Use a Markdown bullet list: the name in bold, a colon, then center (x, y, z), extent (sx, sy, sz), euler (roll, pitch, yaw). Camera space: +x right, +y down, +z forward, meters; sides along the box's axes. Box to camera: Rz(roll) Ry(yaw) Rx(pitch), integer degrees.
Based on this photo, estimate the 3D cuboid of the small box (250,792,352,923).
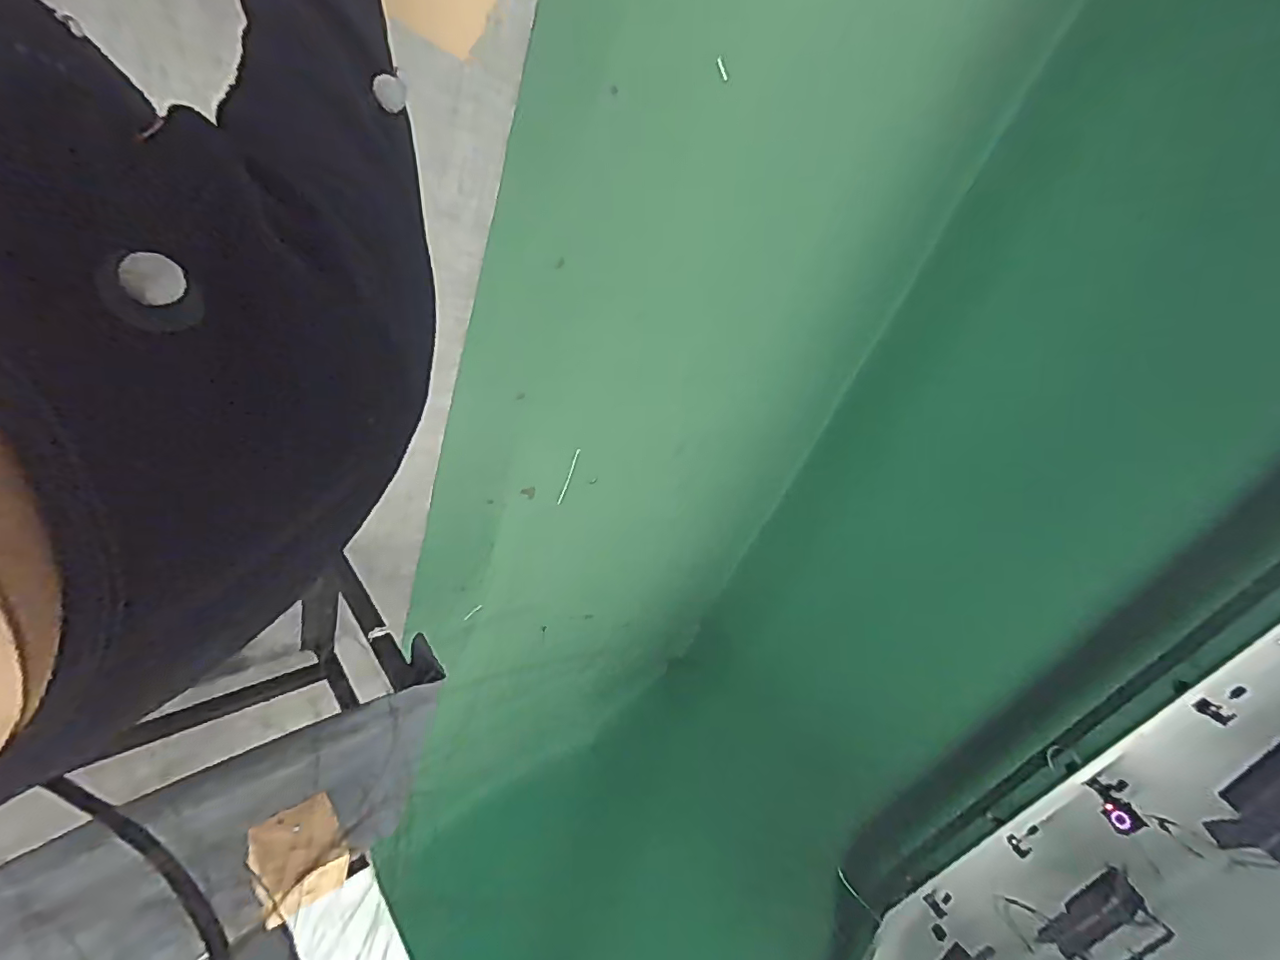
- **small box**: center (-0.821, 0.901, 1.305), extent (0.168, 0.176, 0.179), euler (-12, 135, -46)
